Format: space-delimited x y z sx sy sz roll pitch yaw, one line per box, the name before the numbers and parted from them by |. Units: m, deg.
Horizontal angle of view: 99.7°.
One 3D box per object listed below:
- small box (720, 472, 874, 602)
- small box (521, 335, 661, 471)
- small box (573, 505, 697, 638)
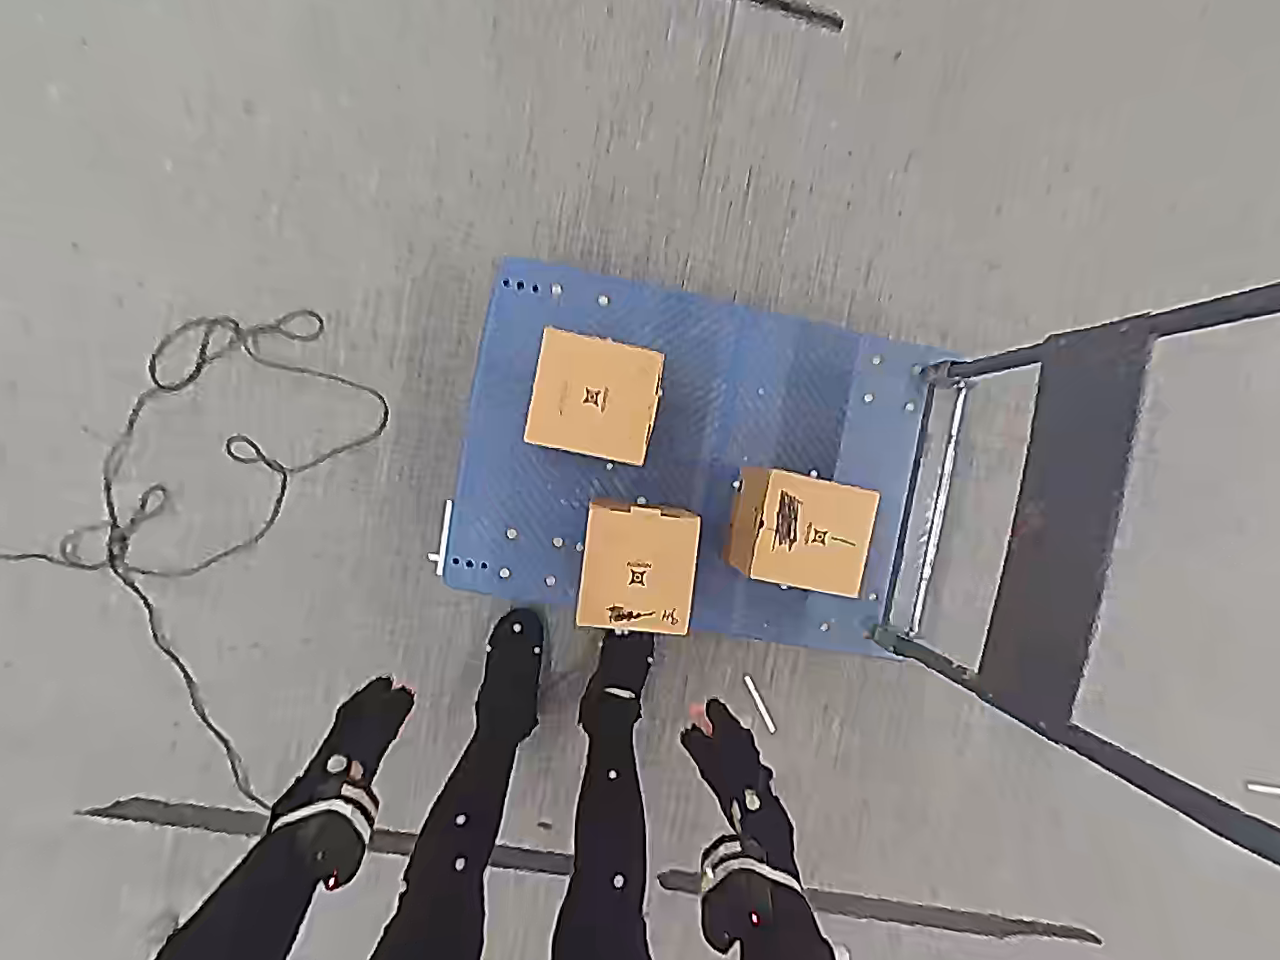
small box | 0.244 0.086 0.886 0.179 0.176 0.168 13 90 -6
small box | -0.076 -0.112 0.852 0.179 0.176 0.168 11 90 -5
small box | -0.015 0.136 0.865 0.168 0.176 0.179 7 90 -5
